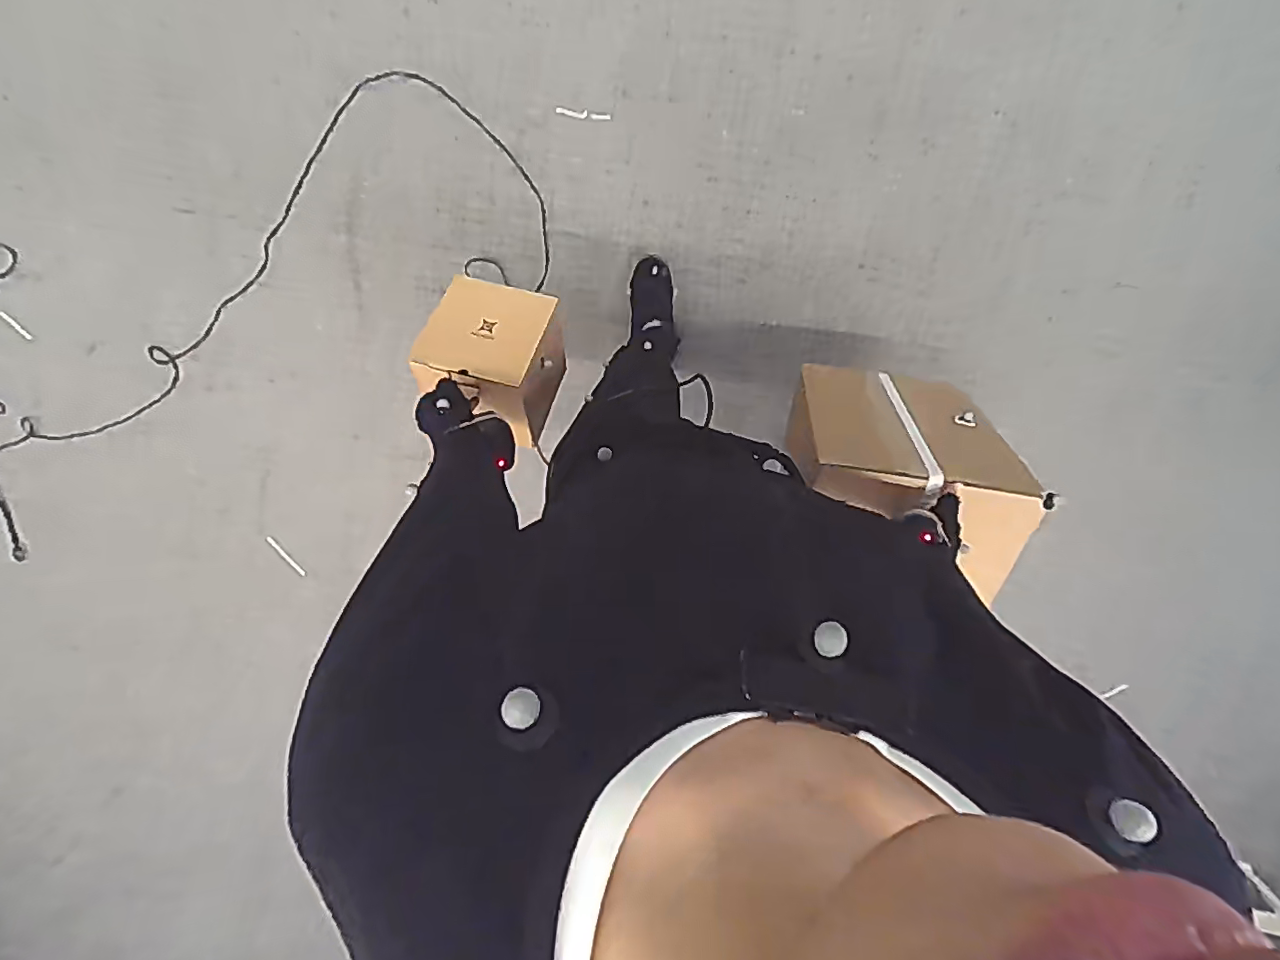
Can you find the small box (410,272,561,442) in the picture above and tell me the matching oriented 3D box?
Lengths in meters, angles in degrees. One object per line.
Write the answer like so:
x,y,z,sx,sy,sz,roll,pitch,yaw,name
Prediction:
-0.229,-0.189,0.857,0.168,0.176,0.179,15,64,3,small box
